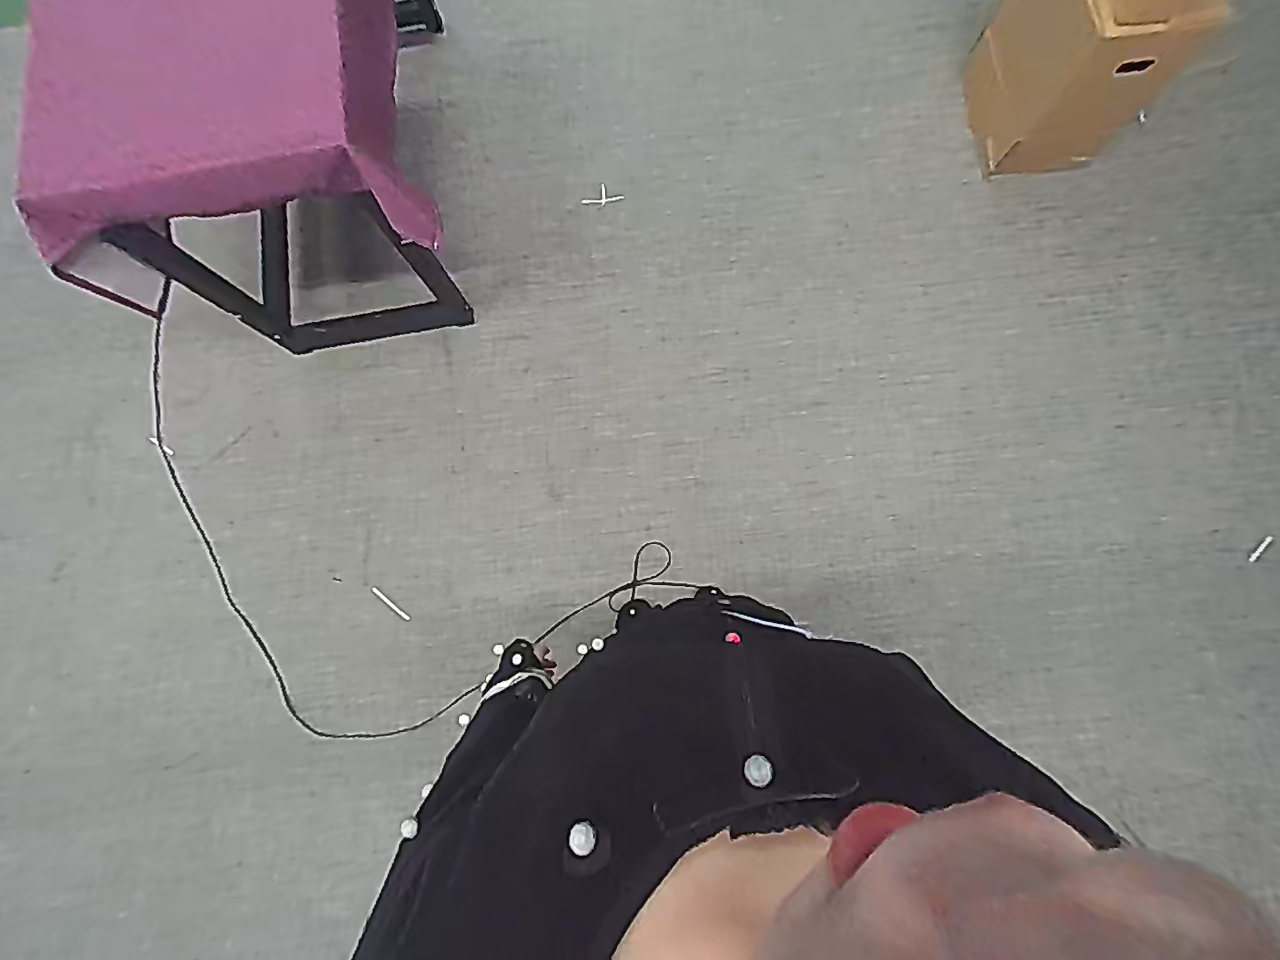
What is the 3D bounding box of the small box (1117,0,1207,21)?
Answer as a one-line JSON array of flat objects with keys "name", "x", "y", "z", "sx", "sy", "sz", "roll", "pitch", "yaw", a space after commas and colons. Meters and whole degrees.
[{"name": "small box", "x": 1.188, "y": -1.154, "z": 1.184, "sx": 0.179, "sy": 0.176, "sz": 0.168, "roll": -3, "pitch": 79, "yaw": 1}]
